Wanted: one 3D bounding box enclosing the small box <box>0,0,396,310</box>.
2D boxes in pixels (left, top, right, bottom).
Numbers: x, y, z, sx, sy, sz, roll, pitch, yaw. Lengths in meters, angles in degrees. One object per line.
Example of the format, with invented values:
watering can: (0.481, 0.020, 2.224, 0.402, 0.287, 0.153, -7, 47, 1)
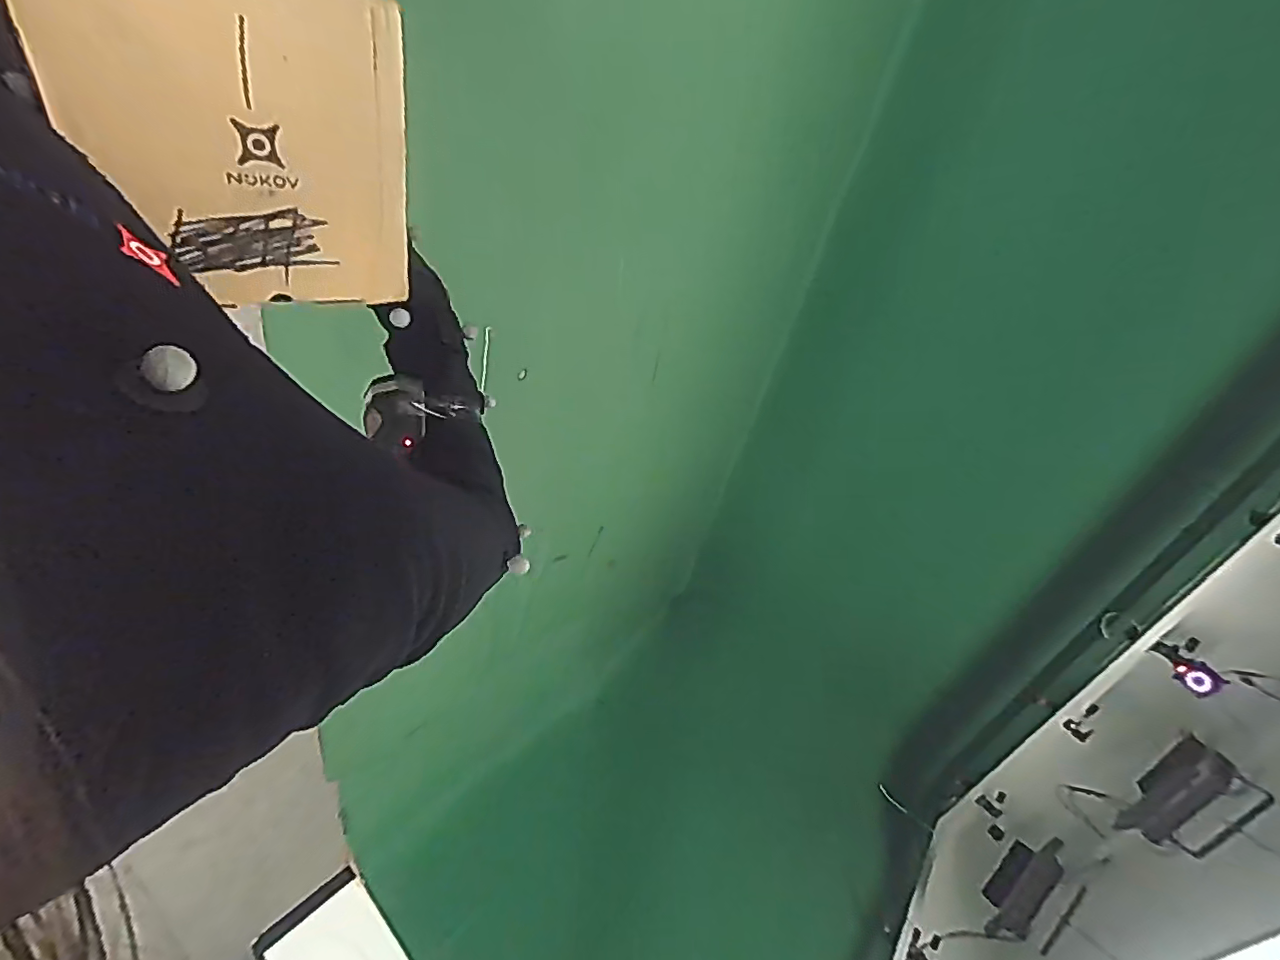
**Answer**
small box: (-0.274, -0.232, 0.353, 0.168, 0.176, 0.179, -18, 139, -38)
